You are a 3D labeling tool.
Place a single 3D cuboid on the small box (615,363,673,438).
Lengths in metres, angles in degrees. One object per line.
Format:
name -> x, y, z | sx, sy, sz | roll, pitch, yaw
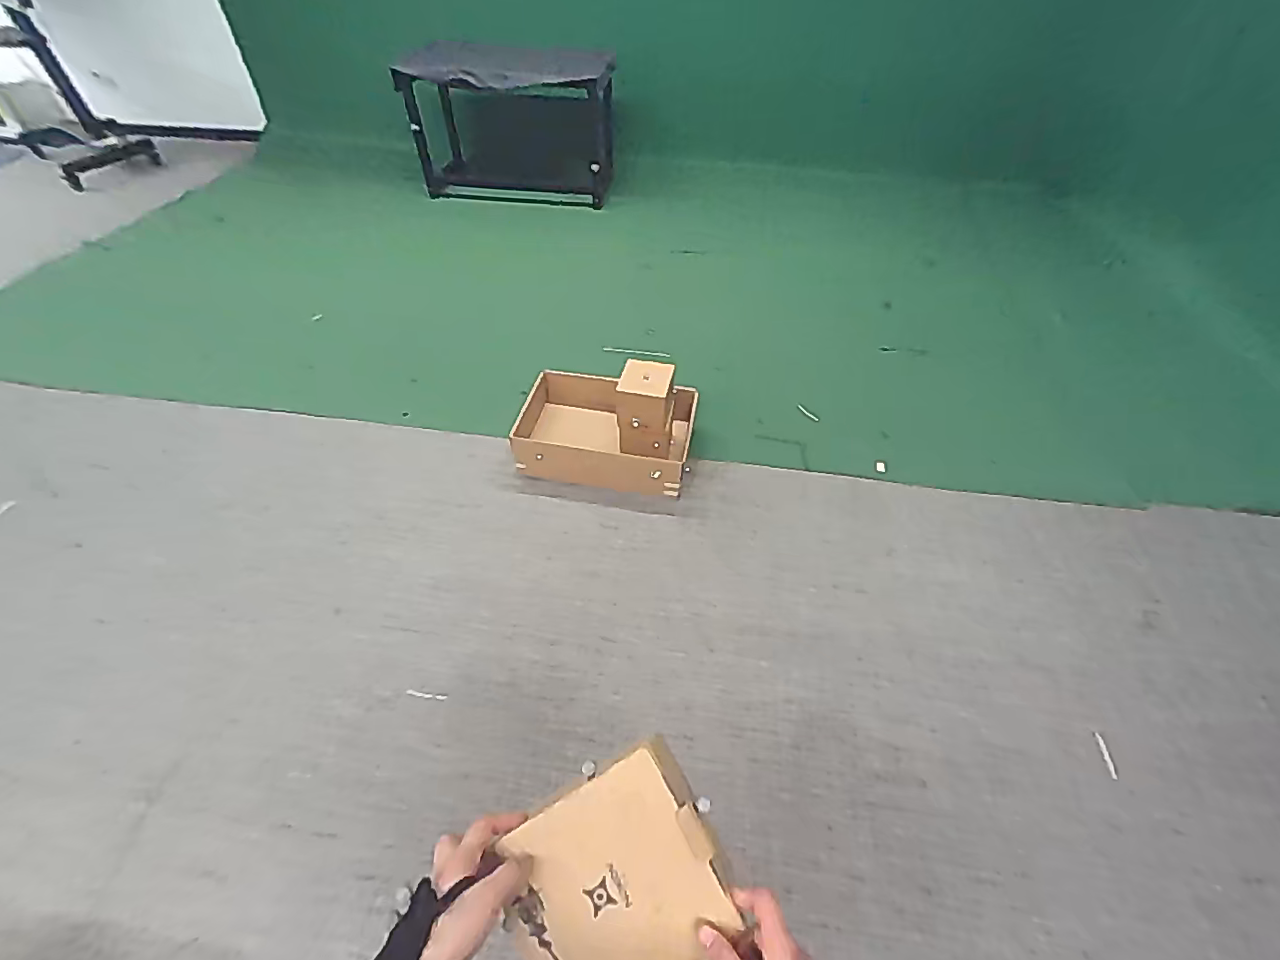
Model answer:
small box -> 0.013, -0.268, 1.835 | 0.168, 0.176, 0.179 | 9, 50, 8
